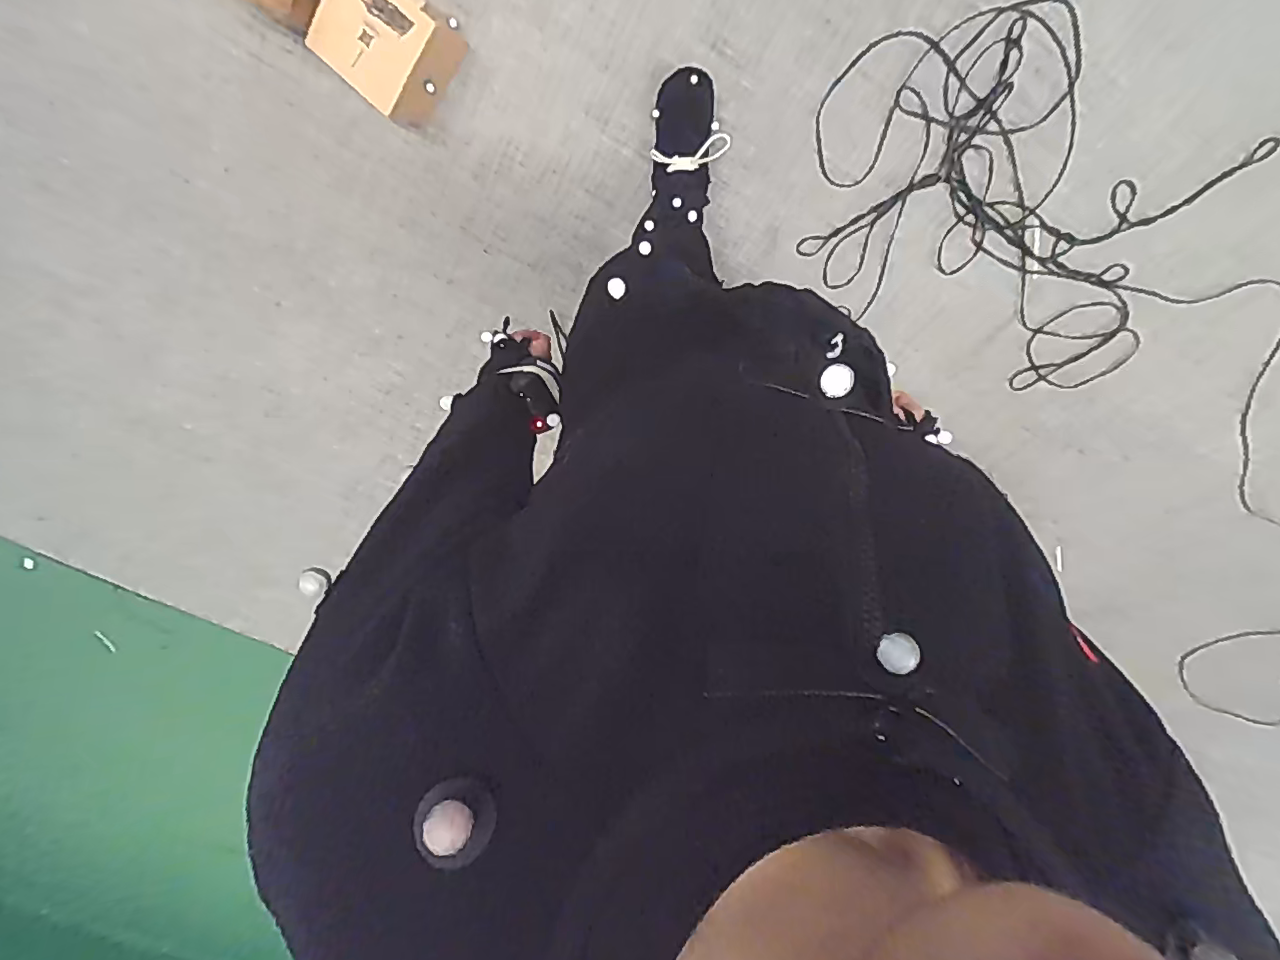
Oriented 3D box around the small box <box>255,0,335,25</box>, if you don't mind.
[{"bbox_3d":[-0.624,-0.918,0.906,0.168,0.176,0.179,31,118,-13],"label":"small box"}]
